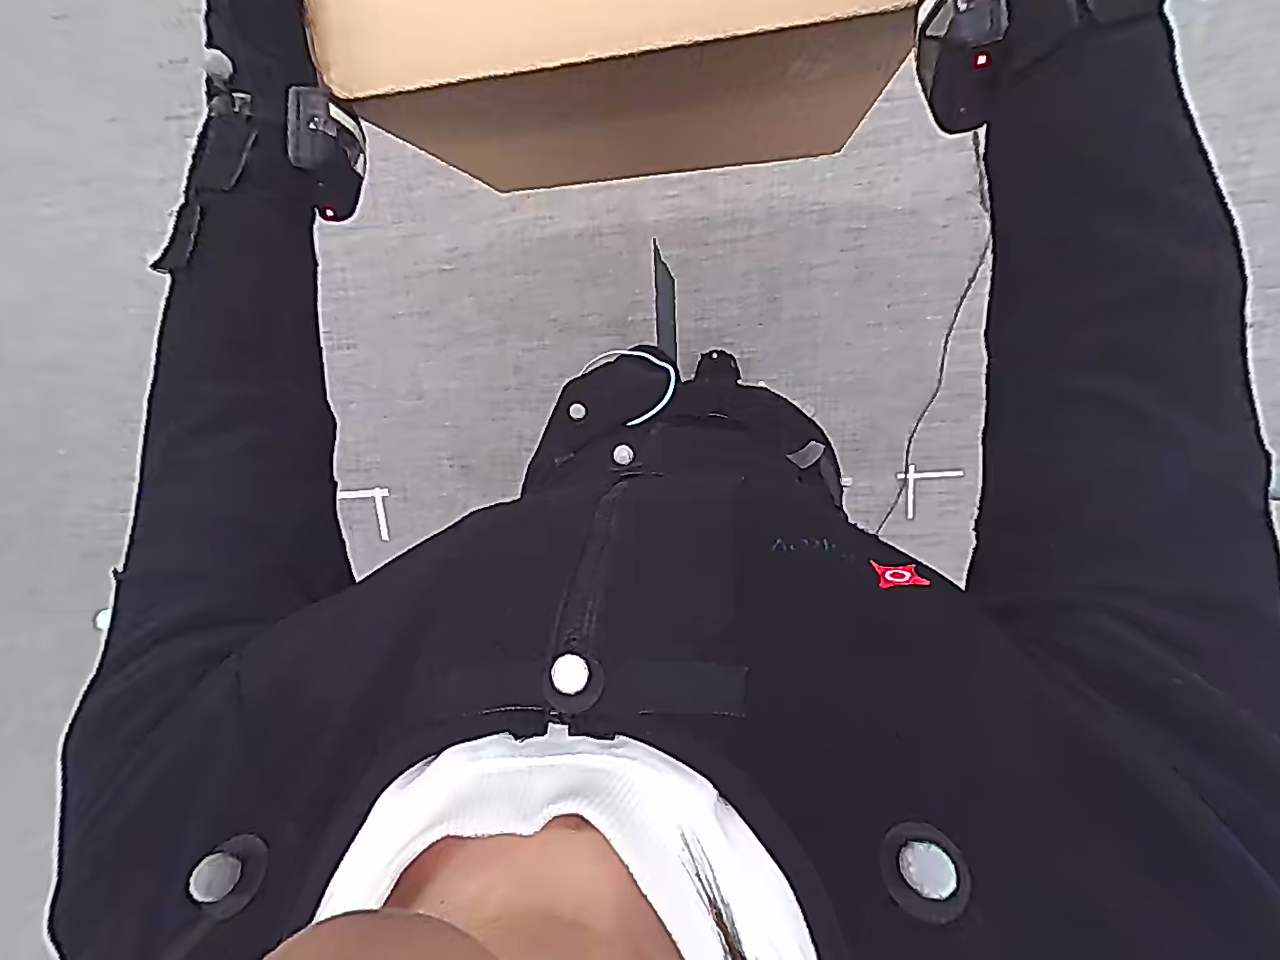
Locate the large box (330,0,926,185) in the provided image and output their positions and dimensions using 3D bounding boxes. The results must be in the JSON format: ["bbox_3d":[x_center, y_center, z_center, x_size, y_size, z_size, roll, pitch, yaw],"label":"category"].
[{"bbox_3d":[-0.006,-0.474,0.451,0.408,0.320,0.320,-2,107,9],"label":"large box"}]
